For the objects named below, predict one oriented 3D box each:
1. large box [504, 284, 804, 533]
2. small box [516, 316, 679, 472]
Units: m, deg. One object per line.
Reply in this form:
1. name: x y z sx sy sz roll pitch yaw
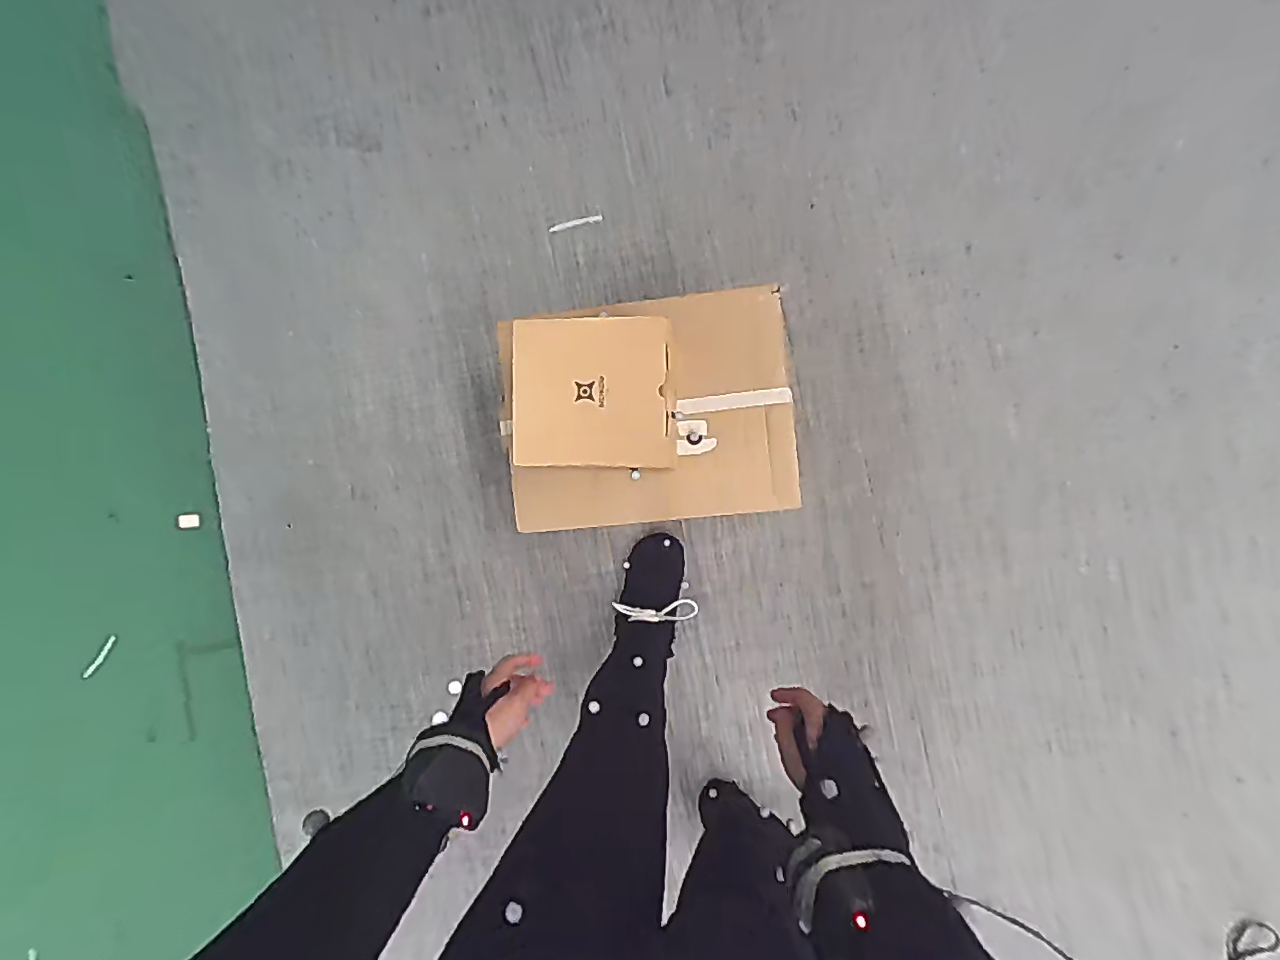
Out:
1. large box: 0.026 -0.097 0.912 0.408 0.320 0.320 -6 90 5
2. small box: -0.043 -0.095 0.674 0.179 0.176 0.168 0 89 6
